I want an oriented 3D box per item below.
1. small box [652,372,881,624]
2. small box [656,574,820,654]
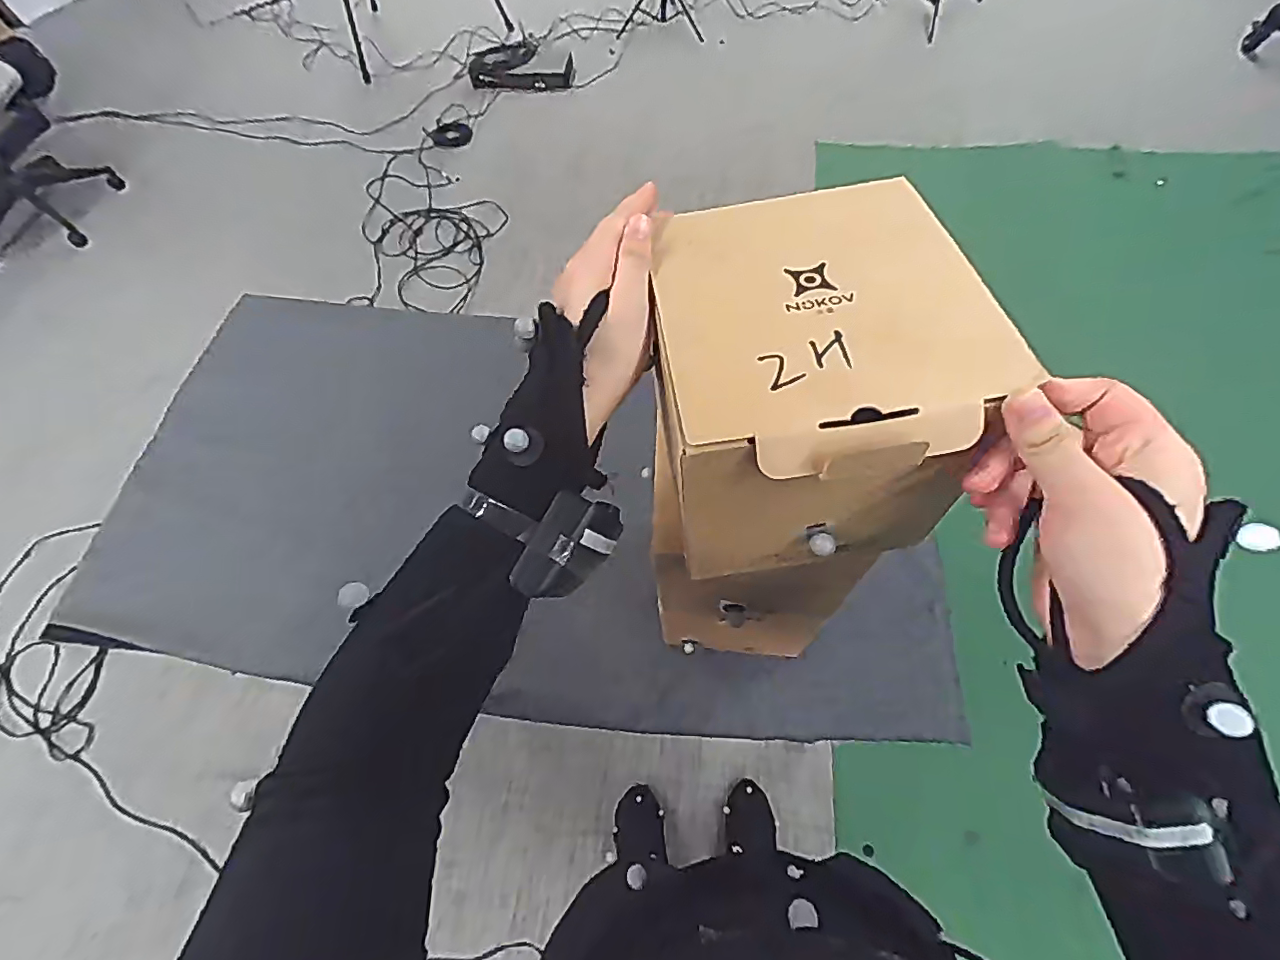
[{"bbox_3d":[0.101,0.022,0.498,0.168,0.176,0.179,0,61,6],"label":"small box"},{"bbox_3d":[0.114,0.098,0.641,0.168,0.176,0.179,4,60,7],"label":"small box"}]
